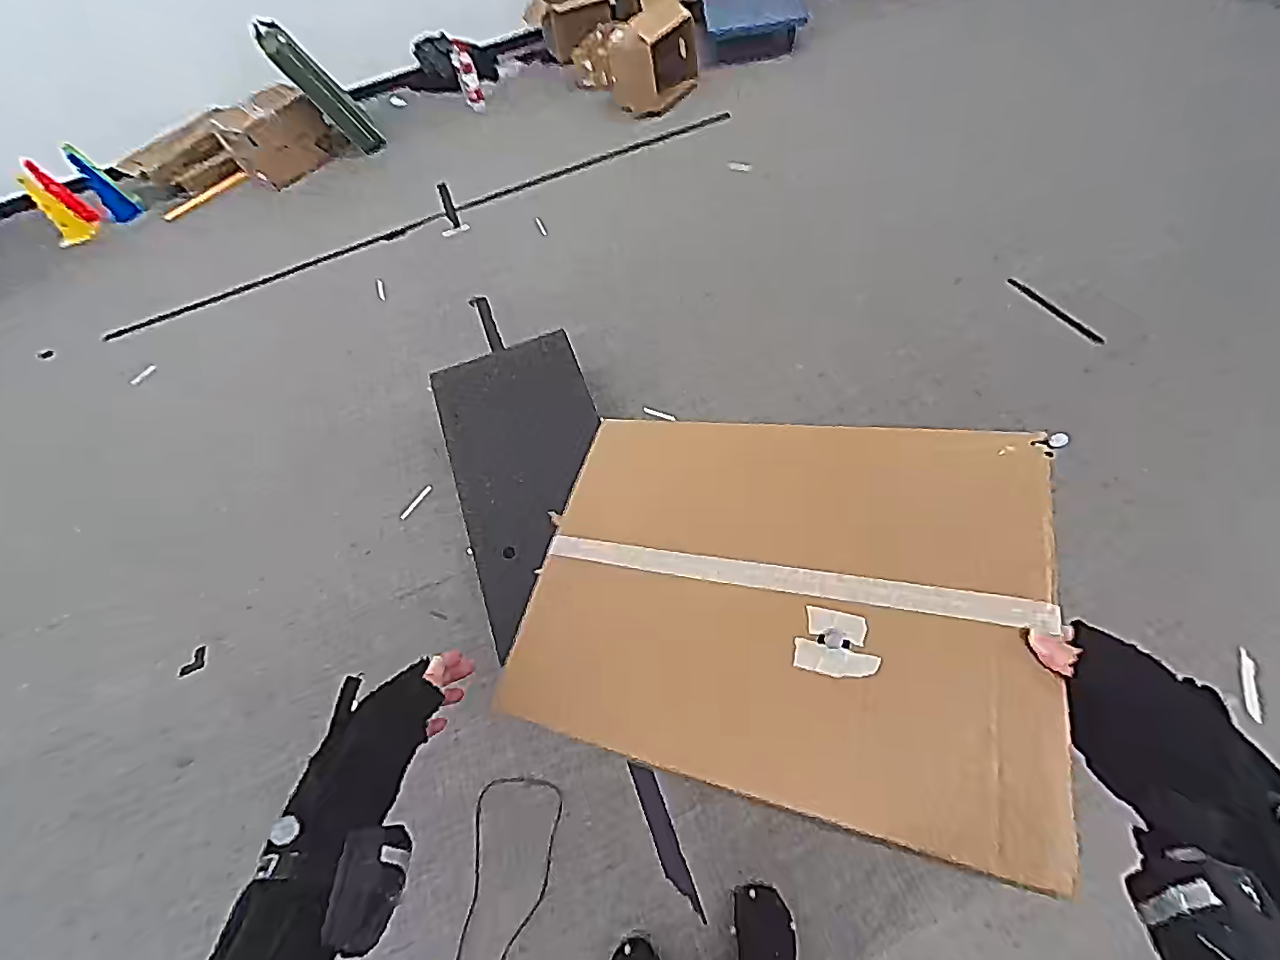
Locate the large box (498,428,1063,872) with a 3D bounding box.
[{"bbox_3d":[0.141,0.162,0.570,0.408,0.320,0.320,5,61,24],"label":"large box"}]

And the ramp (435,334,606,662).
[{"bbox_3d":[-0.305,-0.008,1.678,0.509,0.206,0.991,-21,56,-6],"label":"ramp"}]
